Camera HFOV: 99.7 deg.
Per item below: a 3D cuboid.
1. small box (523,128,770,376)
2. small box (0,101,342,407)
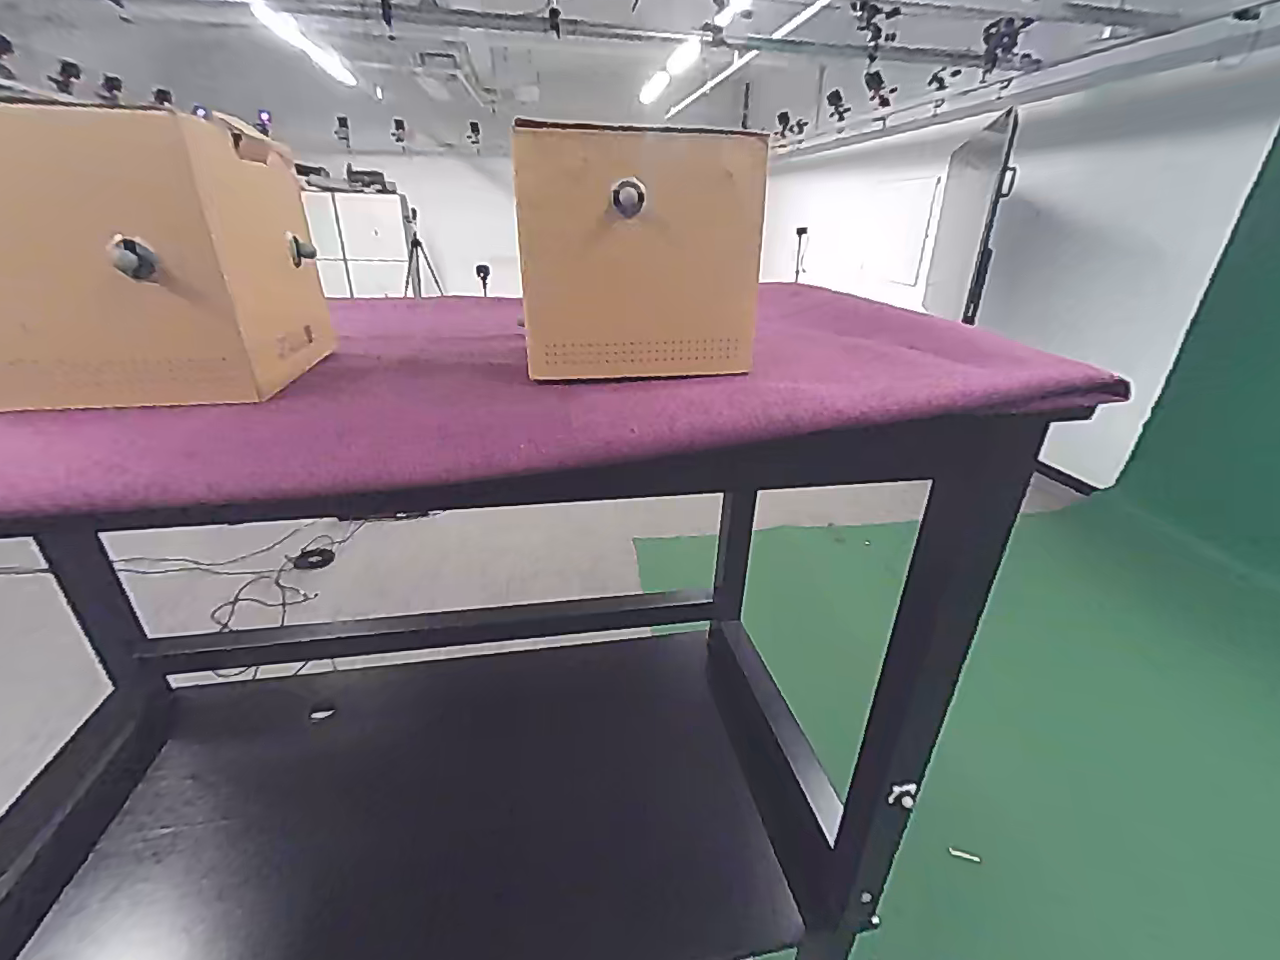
[{"bbox_3d":[-0.004,-0.187,0.471,0.179,0.176,0.168,-2,23,-9],"label":"small box"},{"bbox_3d":[-0.342,-0.157,0.391,0.179,0.176,0.168,-4,25,-10],"label":"small box"}]
